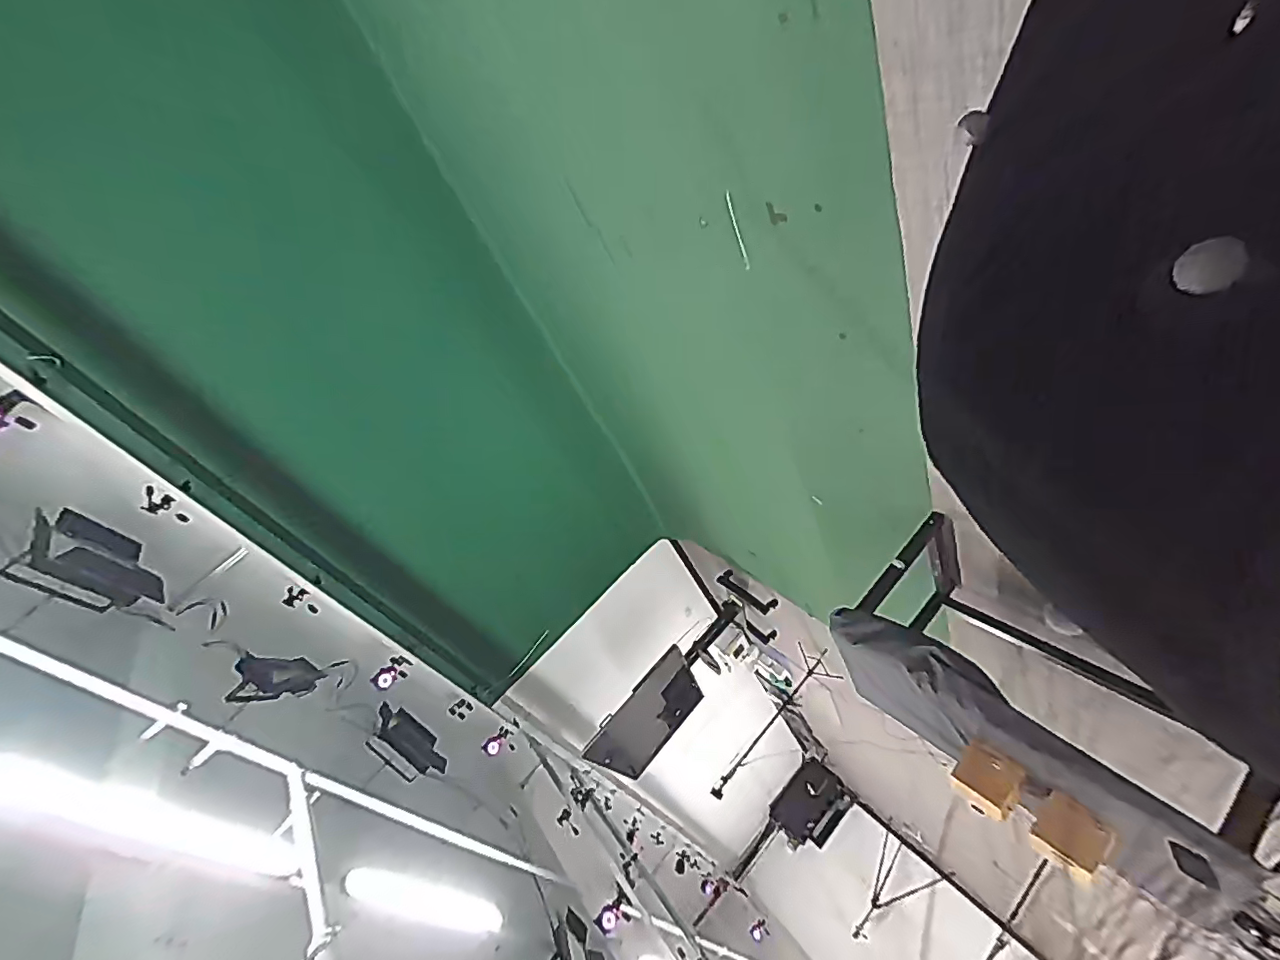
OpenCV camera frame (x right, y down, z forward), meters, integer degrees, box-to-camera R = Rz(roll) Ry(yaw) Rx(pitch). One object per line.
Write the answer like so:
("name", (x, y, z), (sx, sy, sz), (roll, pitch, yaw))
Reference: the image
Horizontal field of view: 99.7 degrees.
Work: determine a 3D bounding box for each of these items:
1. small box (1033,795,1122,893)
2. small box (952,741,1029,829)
("small box", (1.347, 1.115, 1.667), (0.168, 0.176, 0.179), (26, 156, 50))
("small box", (1.207, 1.043, 1.856), (0.168, 0.176, 0.179), (24, 152, 51))
